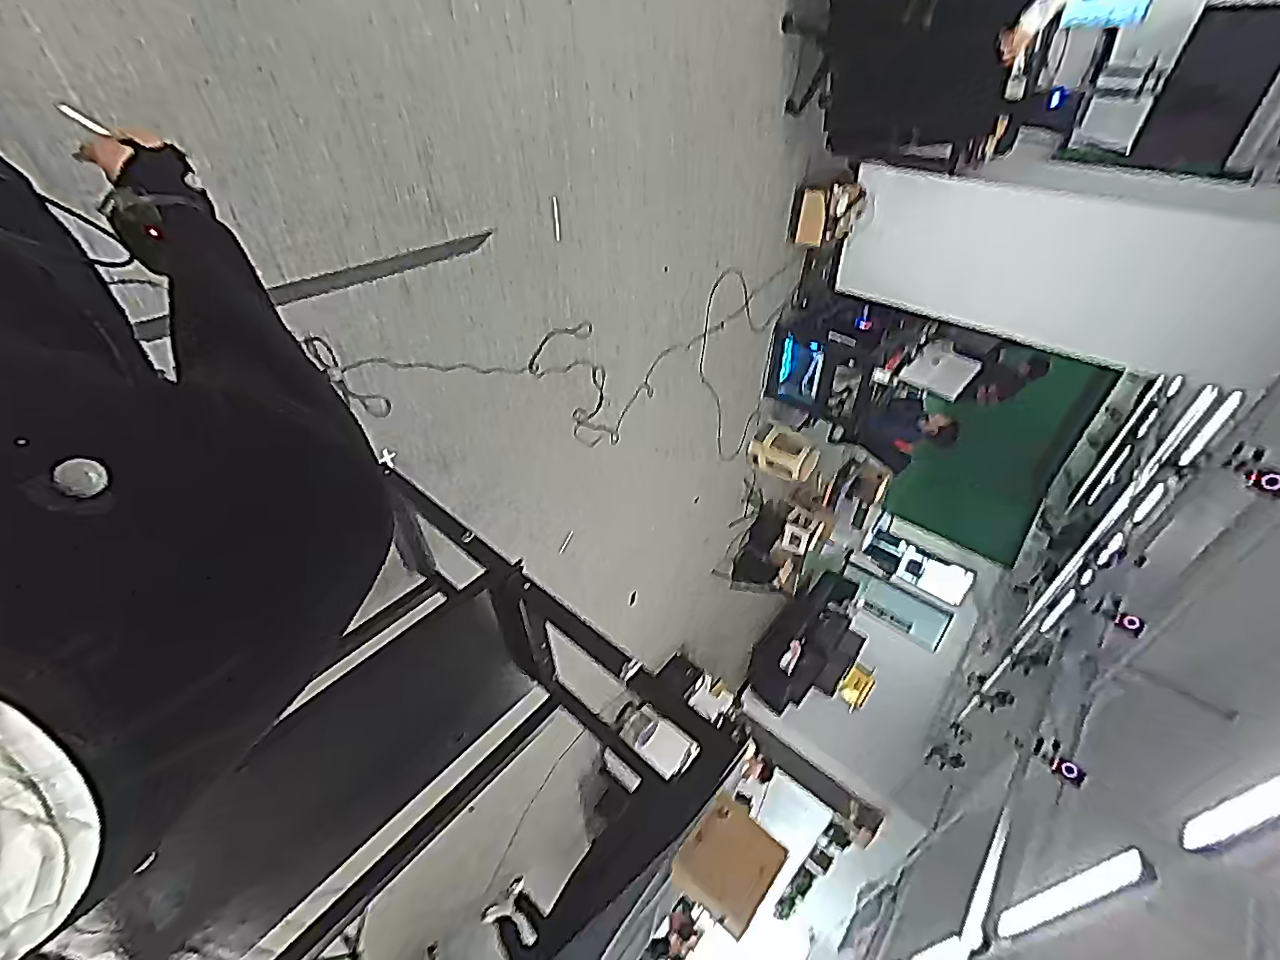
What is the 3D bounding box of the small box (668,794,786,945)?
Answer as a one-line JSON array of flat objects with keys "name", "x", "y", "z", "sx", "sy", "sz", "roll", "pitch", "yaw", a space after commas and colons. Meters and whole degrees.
[{"name": "small box", "x": 0.170, "y": 0.777, "z": 1.092, "sx": 0.168, "sy": 0.176, "sz": 0.179, "roll": -38, "pitch": 144, "yaw": -33}]
